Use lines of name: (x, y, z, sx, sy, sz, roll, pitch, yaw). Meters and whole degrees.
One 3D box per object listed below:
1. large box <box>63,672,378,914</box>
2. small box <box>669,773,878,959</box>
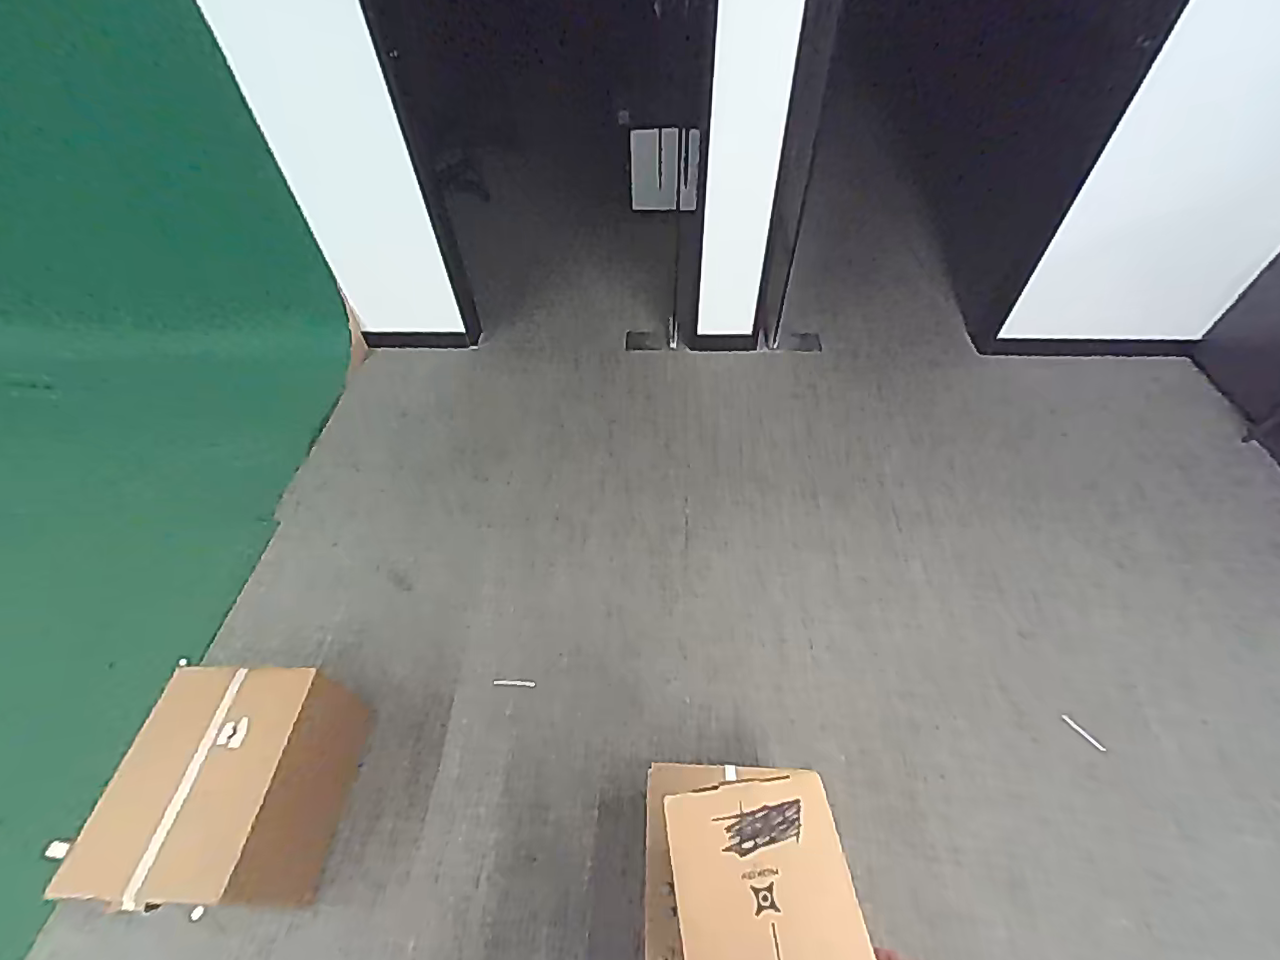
large box: (-0.830, 0.666, 1.156, 0.320, 0.320, 0.408, 0, 49, 3)
small box: (0.123, 0.431, 0.564, 0.168, 0.176, 0.179, -8, 51, -2)
